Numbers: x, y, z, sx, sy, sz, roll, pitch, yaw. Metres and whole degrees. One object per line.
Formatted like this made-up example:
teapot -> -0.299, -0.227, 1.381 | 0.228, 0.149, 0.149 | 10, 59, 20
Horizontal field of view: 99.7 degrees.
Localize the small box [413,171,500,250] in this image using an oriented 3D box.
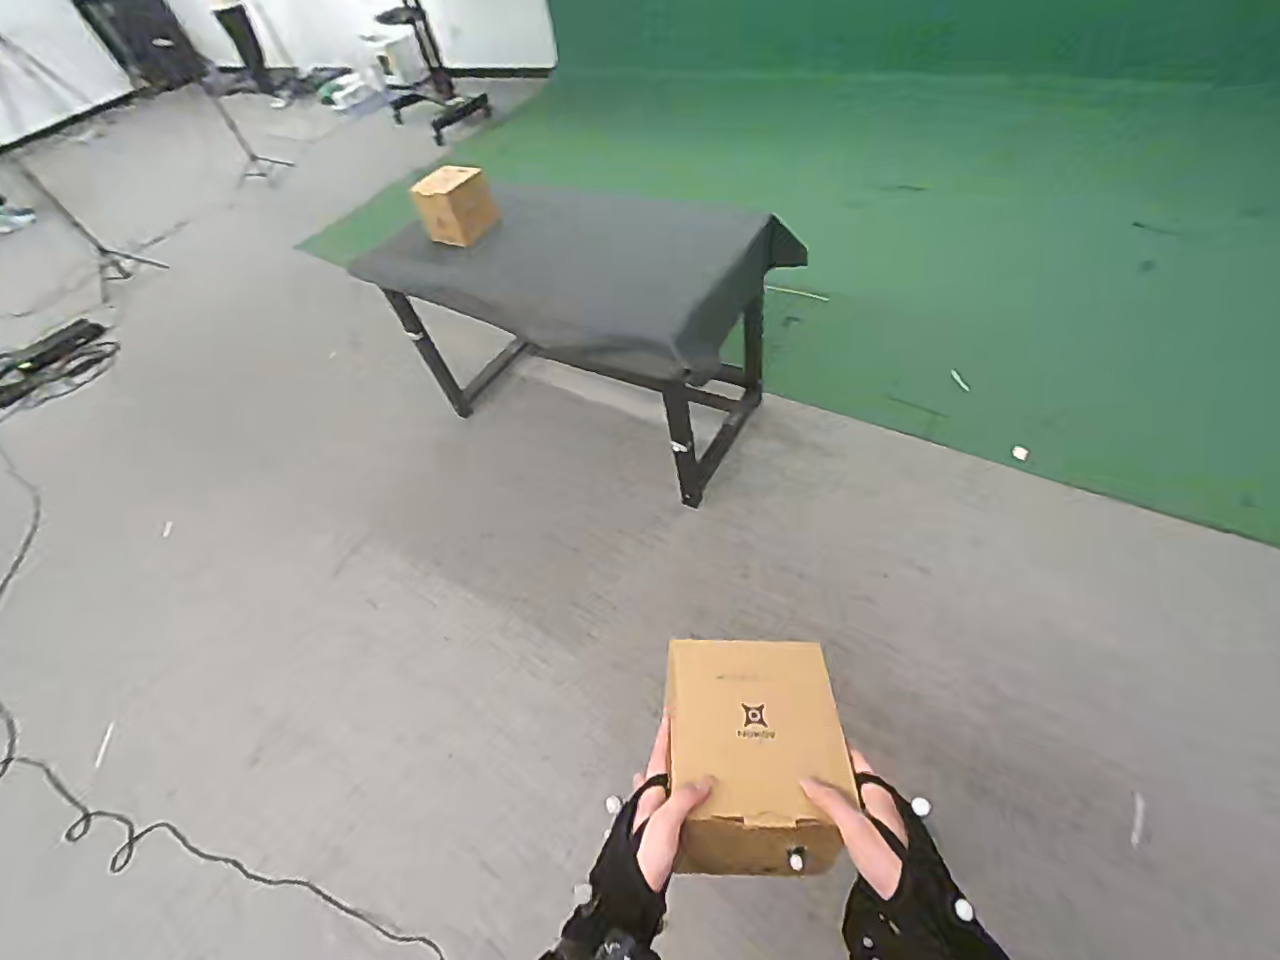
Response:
small box -> -0.588, -0.875, 1.758 | 0.168, 0.176, 0.179 | 21, 60, 25
